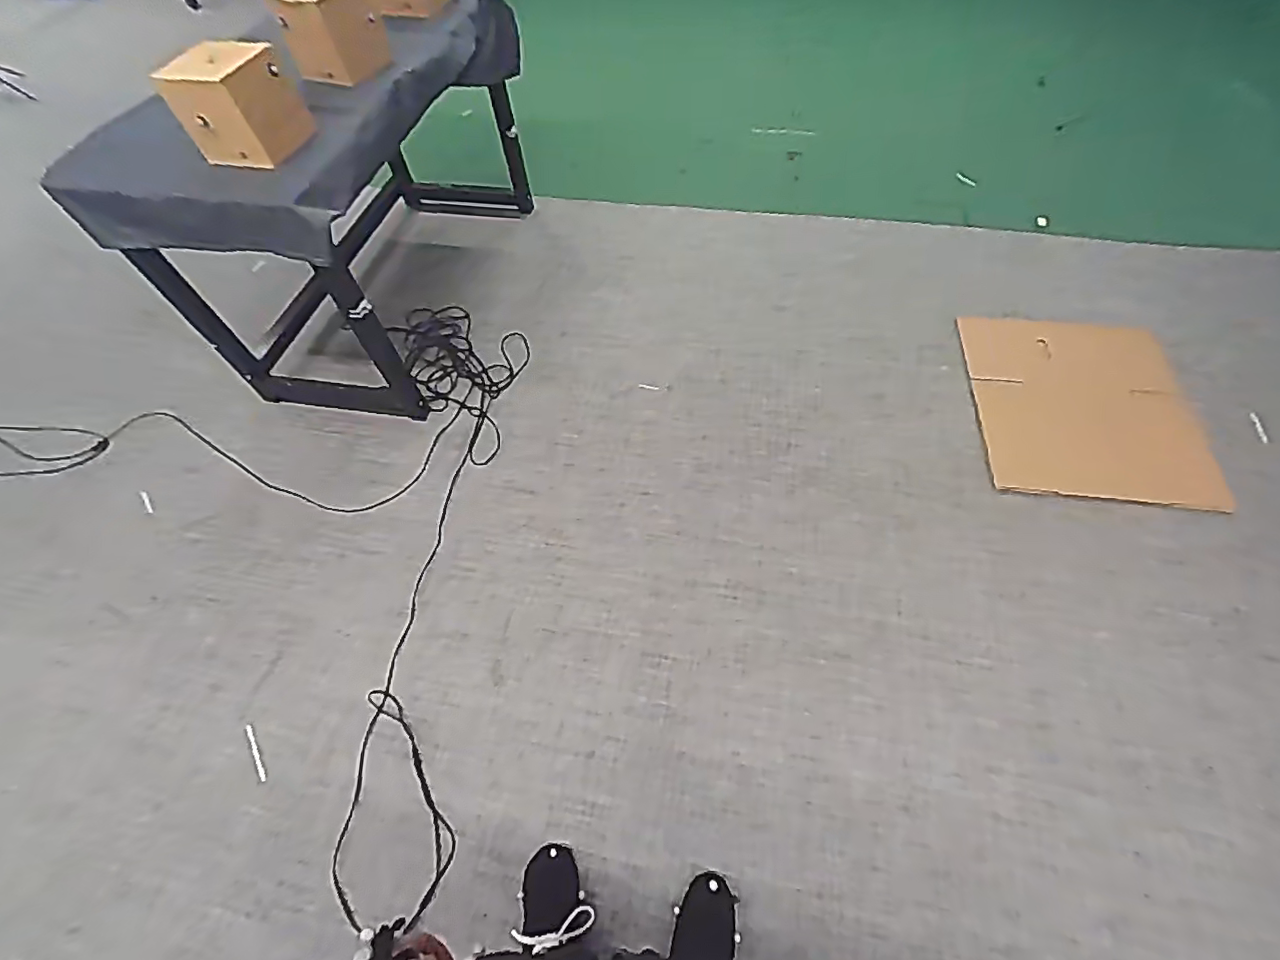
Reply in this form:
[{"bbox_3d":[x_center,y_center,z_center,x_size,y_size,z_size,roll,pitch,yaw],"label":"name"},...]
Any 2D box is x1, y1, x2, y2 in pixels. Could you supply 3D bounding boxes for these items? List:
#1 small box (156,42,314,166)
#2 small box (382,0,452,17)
[{"bbox_3d":[-0.839,-0.792,1.144,0.168,0.176,0.179,9,58,9],"label":"small box"},{"bbox_3d":[-0.662,-1.474,1.559,0.168,0.176,0.179,13,59,10],"label":"small box"}]
